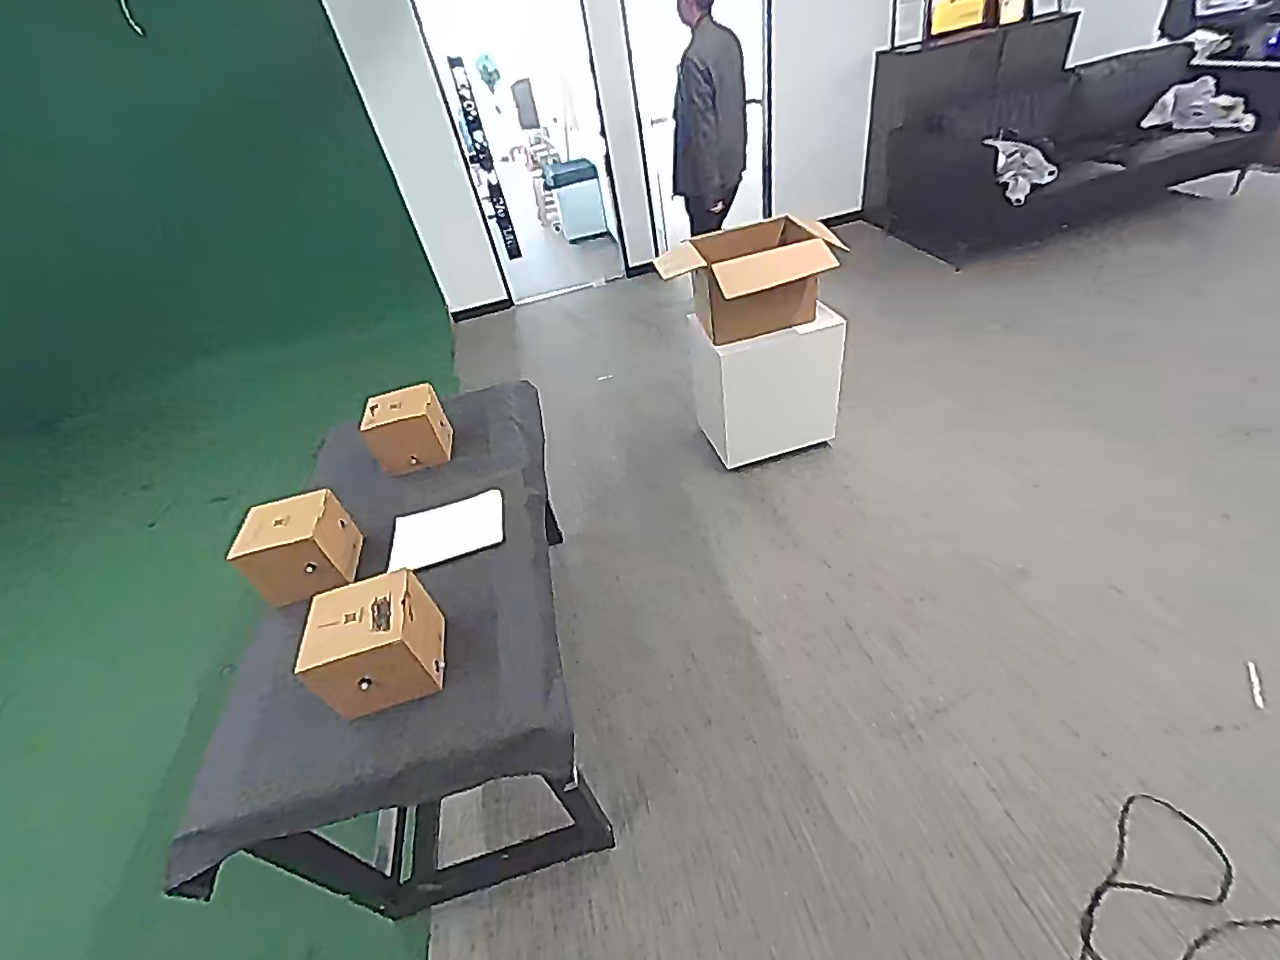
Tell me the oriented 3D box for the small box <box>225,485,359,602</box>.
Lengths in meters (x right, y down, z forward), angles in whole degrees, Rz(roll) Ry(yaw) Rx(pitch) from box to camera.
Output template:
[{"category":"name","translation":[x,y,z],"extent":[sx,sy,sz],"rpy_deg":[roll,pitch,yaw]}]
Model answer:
[{"category":"small box","translation":[-0.755,0.142,1.199],"extent":[0.179,0.176,0.168],"rpy_deg":[-16,40,-4]}]

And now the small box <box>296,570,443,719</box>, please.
[{"category":"small box","translation":[-0.471,0.297,0.976],"extent":[0.179,0.176,0.168],"rpy_deg":[-16,40,-5]}]

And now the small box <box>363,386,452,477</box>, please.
[{"category":"small box","translation":[-0.639,-0.135,1.511],"extent":[0.179,0.176,0.168],"rpy_deg":[-14,40,-5]}]
